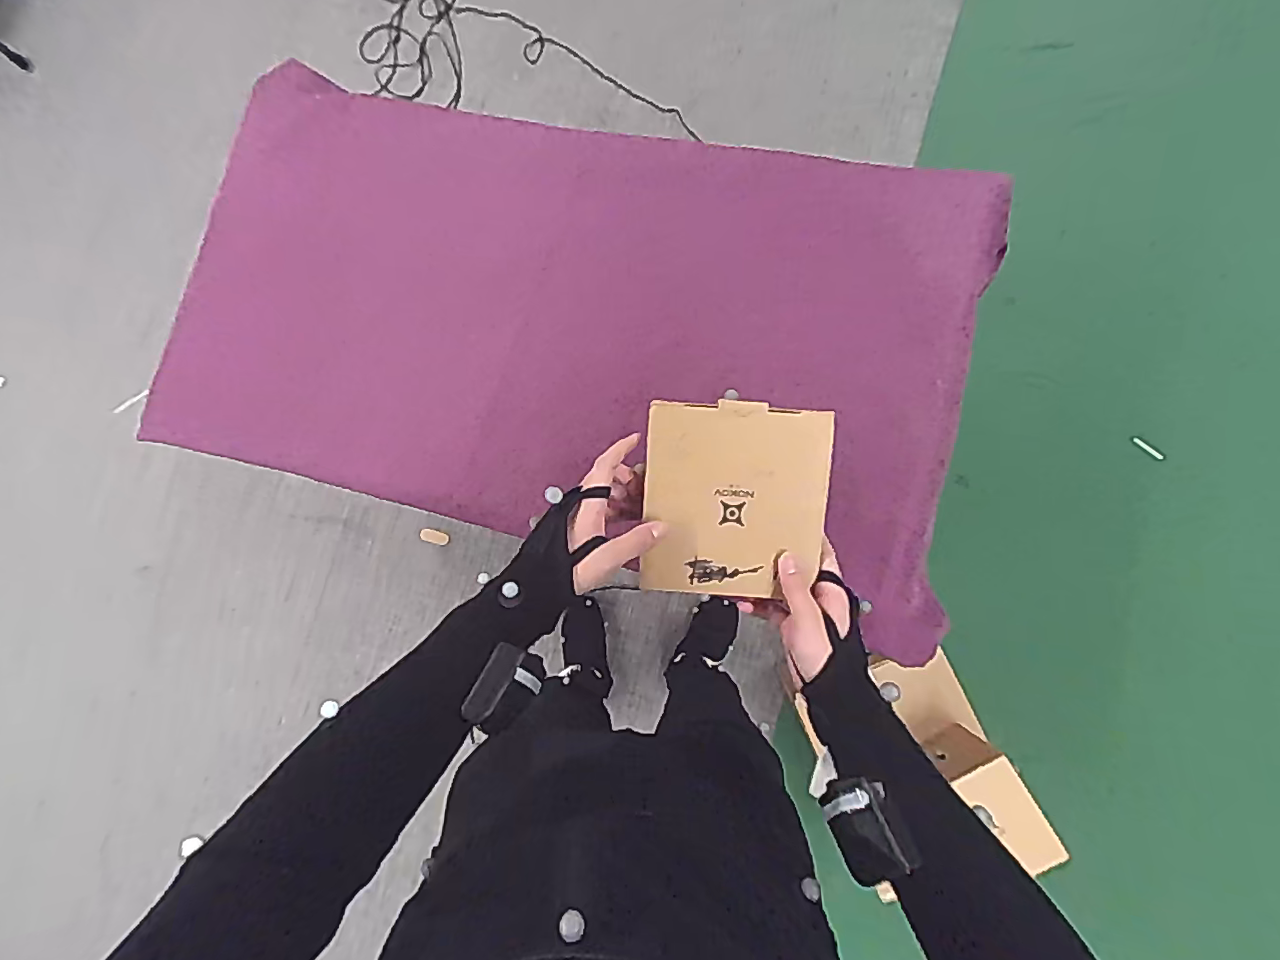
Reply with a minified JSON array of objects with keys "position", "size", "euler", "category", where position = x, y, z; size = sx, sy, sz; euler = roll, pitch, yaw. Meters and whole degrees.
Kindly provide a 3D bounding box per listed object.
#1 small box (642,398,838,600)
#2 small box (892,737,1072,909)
[{"position":[0.091,0.010,0.569],"size":[0.168,0.176,0.179],"euler":[4,97,2],"category":"small box"},{"position":[0.573,0.573,0.938],"size":[0.168,0.176,0.179],"euler":[-30,80,3],"category":"small box"}]
